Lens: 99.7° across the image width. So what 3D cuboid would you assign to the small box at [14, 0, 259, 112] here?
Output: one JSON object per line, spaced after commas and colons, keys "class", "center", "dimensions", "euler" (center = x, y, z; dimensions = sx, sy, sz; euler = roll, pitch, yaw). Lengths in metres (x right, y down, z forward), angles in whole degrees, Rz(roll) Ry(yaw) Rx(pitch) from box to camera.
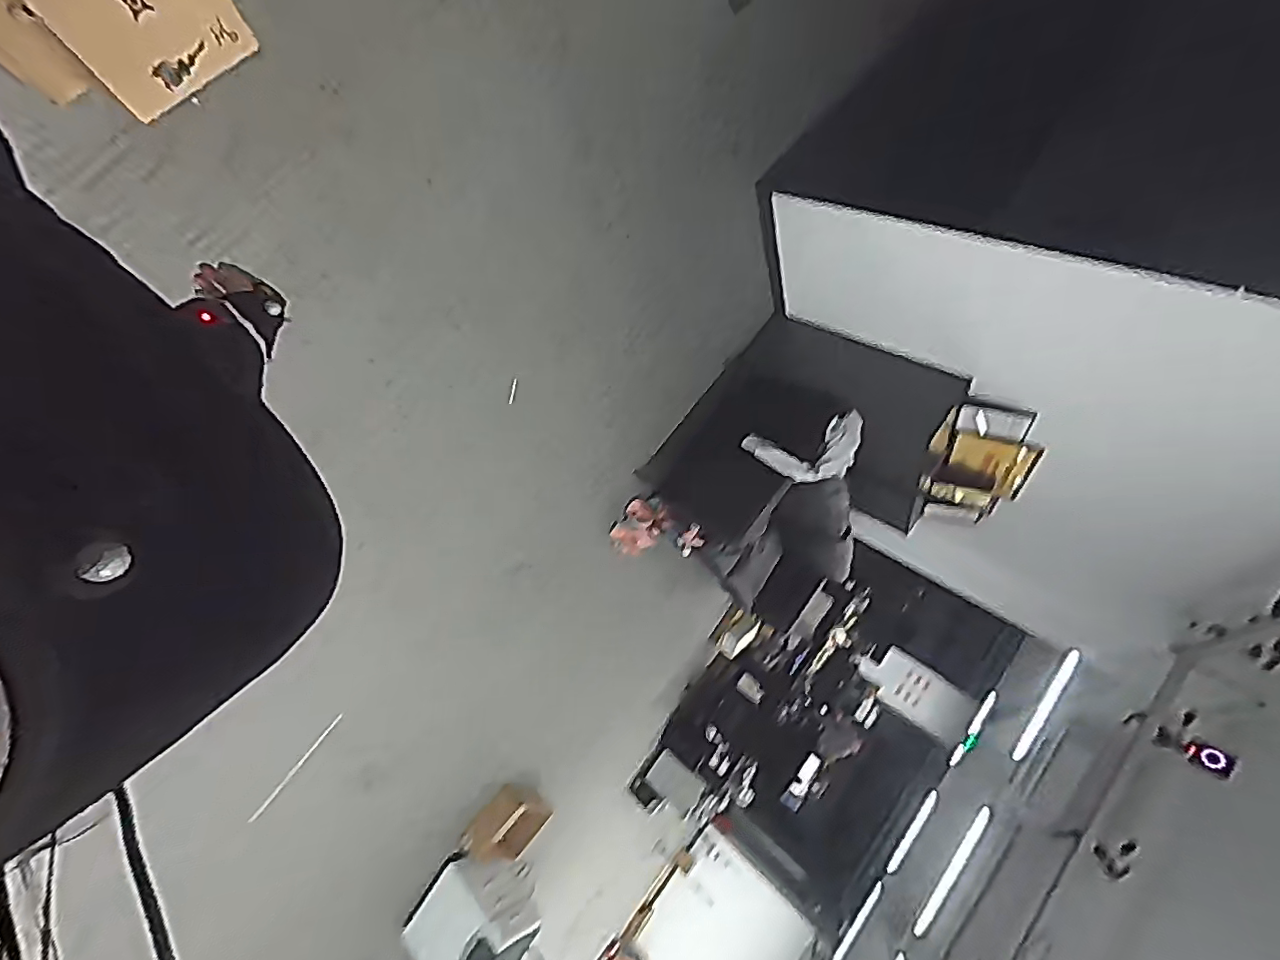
{"class": "small box", "center": [-0.577, -0.542, 0.586], "dimensions": [0.168, 0.176, 0.179], "euler": [-47, 148, -12]}
